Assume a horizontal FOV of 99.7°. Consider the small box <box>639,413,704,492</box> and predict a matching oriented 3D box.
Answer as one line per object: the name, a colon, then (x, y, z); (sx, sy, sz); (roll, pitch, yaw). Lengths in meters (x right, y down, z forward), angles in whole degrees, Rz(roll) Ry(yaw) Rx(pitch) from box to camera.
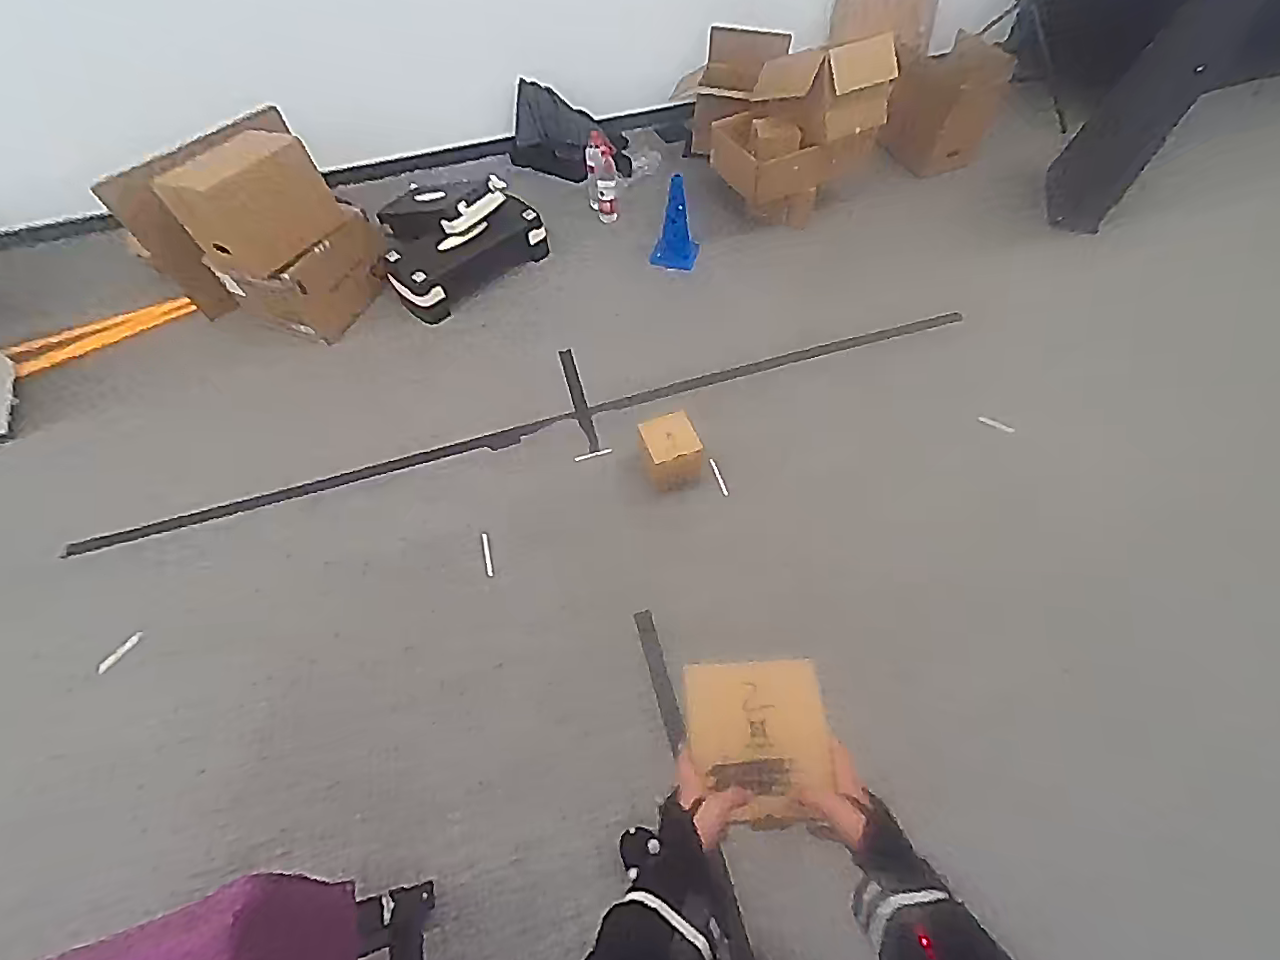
small box: (0.099, -0.089, 1.798); (0.168, 0.176, 0.179); (-18, 60, -9)
